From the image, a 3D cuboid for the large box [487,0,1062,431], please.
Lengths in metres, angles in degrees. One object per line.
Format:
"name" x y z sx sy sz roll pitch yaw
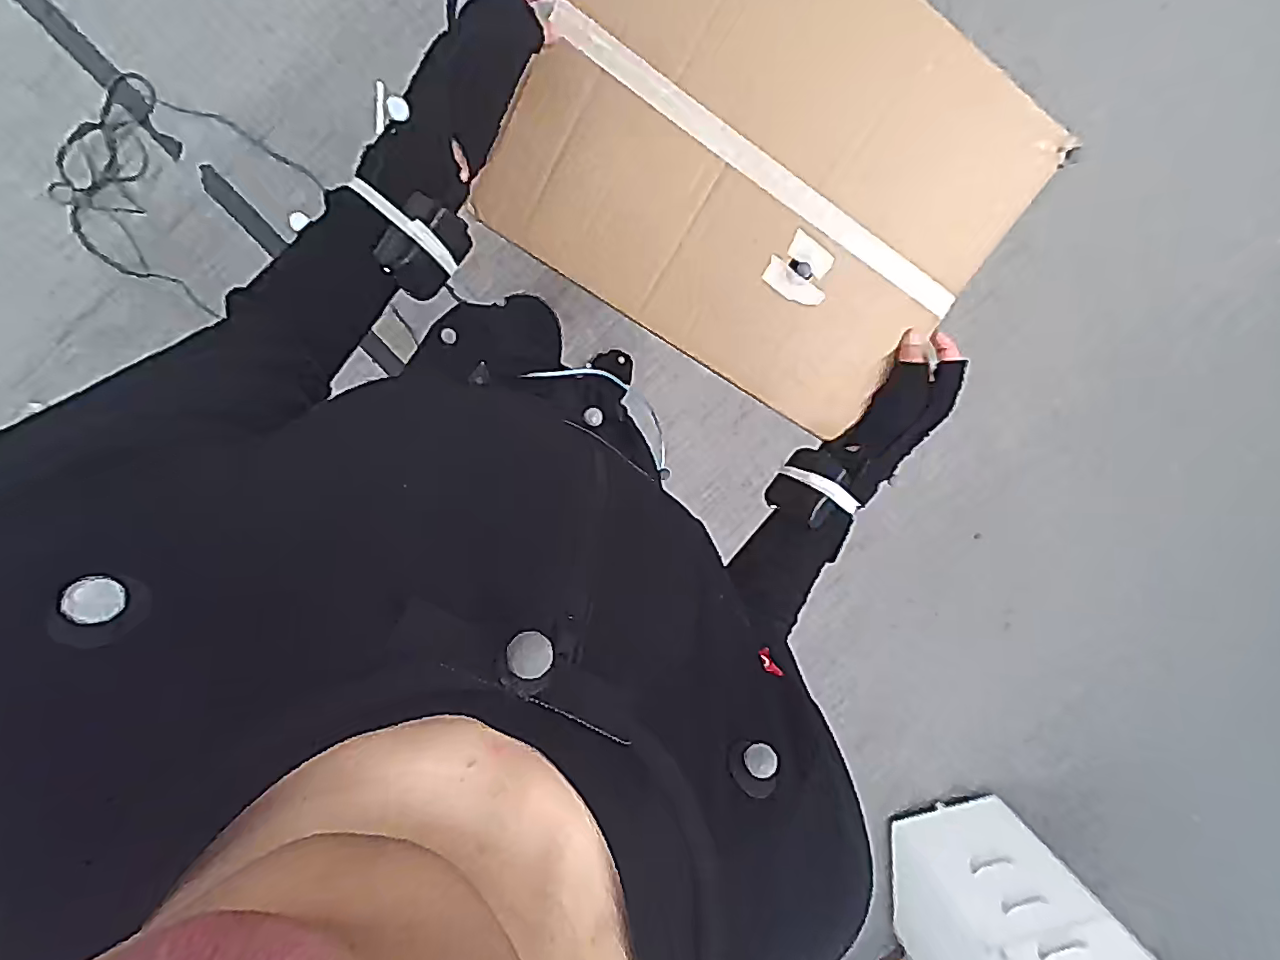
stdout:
"large box" 0.105 -0.315 0.595 0.408 0.320 0.320 29 109 -14
